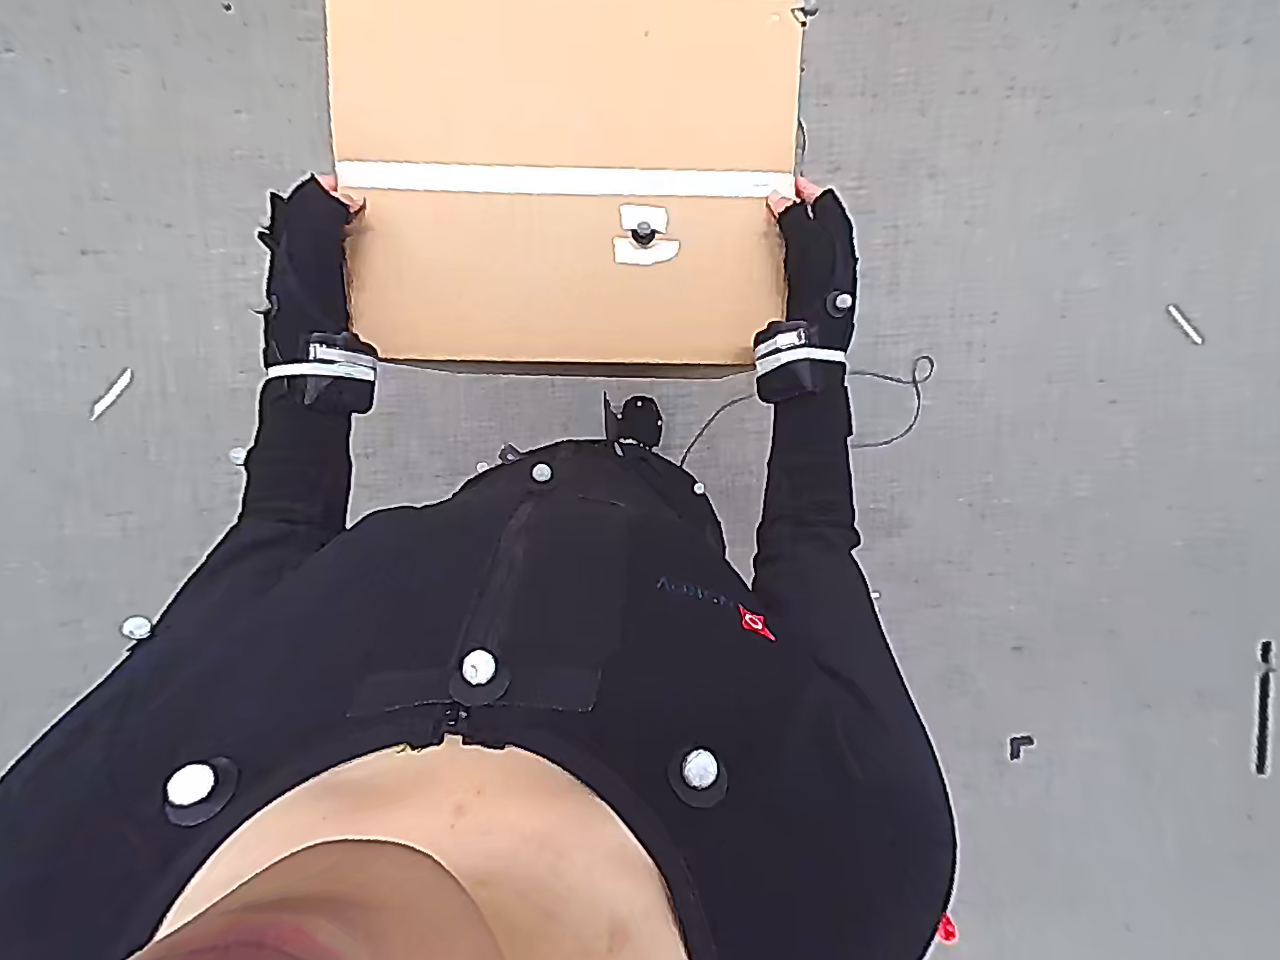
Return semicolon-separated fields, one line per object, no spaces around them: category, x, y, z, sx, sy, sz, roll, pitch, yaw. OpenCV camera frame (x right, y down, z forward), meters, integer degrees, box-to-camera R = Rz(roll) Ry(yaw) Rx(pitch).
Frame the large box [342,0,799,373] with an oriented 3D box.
large box;-0.065;-0.293;0.636;0.408;0.320;0.320;0;99;-3
